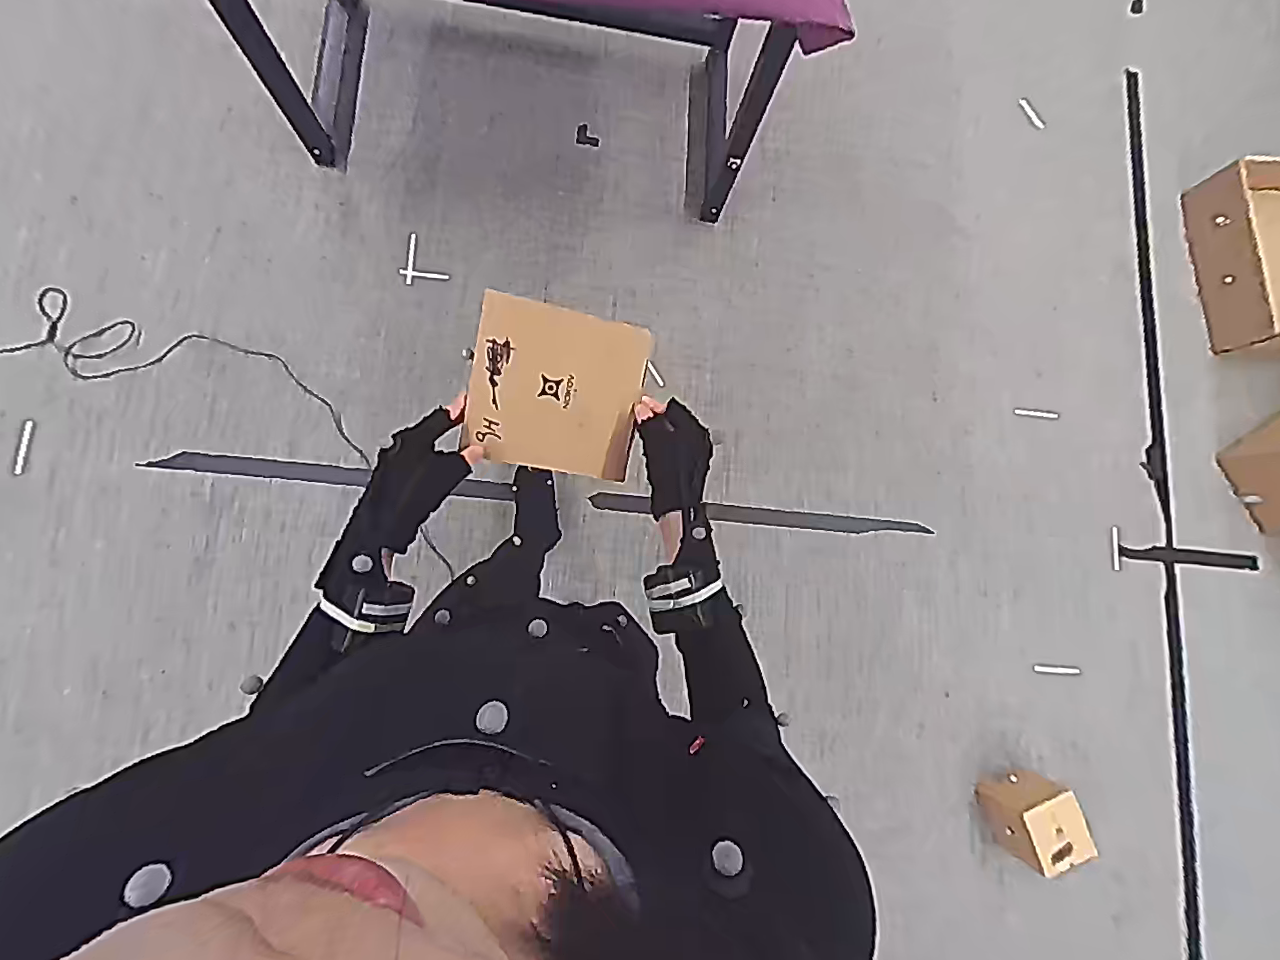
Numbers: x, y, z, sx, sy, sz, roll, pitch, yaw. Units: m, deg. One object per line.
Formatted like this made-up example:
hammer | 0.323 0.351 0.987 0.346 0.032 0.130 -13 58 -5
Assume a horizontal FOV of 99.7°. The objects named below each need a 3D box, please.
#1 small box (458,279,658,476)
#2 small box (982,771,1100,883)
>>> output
small box | -0.099 -0.109 0.616 0.179 0.176 0.168 10 95 -16
small box | 1.095 0.945 1.490 0.168 0.176 0.179 -18 84 -9
